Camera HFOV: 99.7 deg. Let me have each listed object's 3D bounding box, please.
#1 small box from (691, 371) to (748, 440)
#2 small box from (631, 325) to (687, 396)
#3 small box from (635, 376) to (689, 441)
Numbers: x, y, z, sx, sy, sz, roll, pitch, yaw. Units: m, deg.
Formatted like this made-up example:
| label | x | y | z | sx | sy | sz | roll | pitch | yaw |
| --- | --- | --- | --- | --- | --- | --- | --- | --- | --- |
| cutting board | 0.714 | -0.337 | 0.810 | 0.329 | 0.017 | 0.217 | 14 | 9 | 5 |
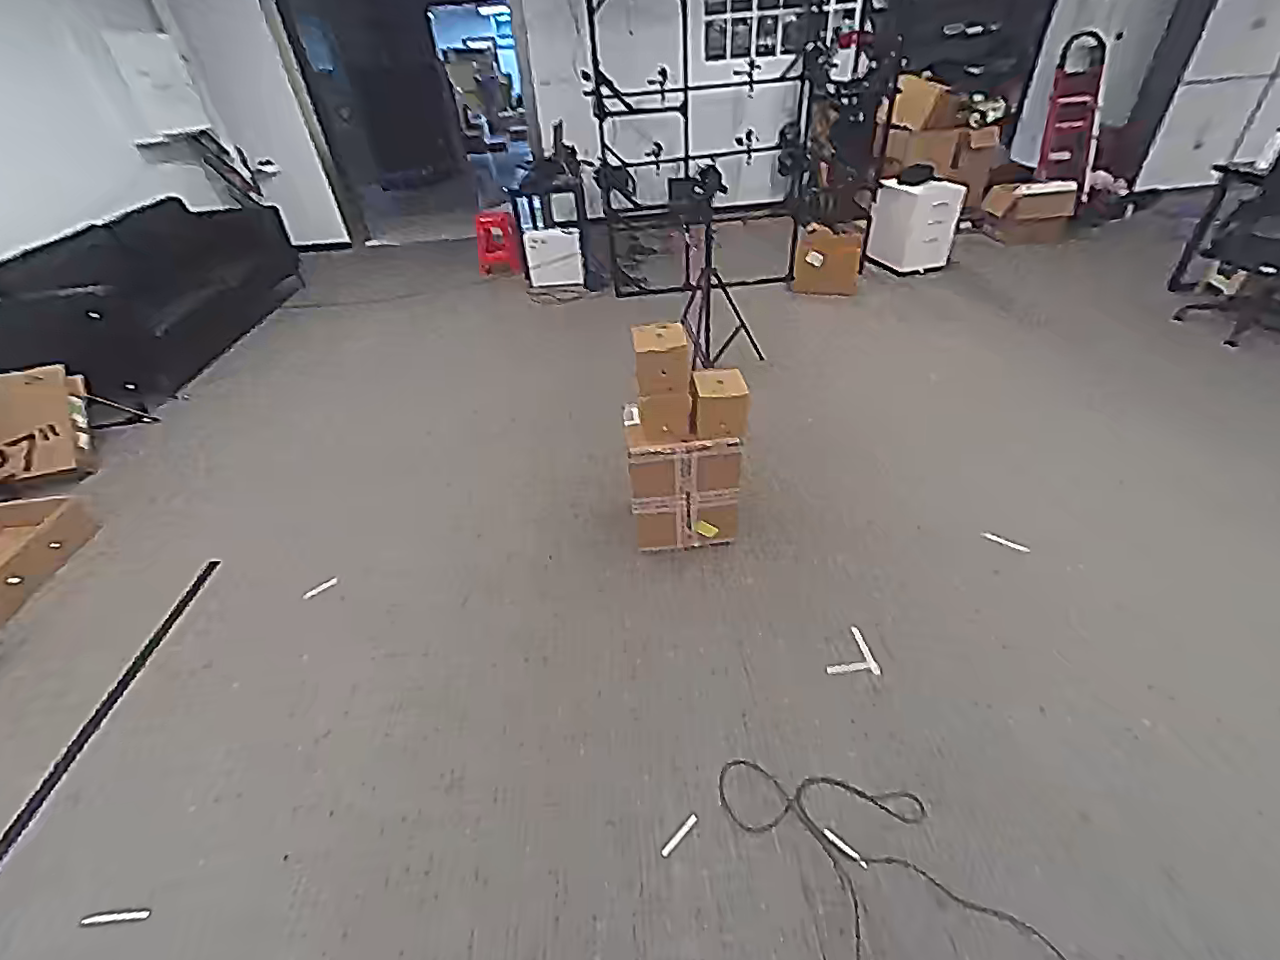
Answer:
| label | x | y | z | sx | sy | sz | roll | pitch | yaw |
| --- | --- | --- | --- | --- | --- | --- | --- | --- | --- |
| small box | 0.267 | -0.256 | 1.863 | 0.168 | 0.176 | 0.179 | -5 | 40 | -2 |
| small box | 0.063 | -0.389 | 1.786 | 0.168 | 0.176 | 0.179 | -7 | 41 | 0 |
| small box | 0.074 | -0.256 | 1.882 | 0.168 | 0.176 | 0.179 | -8 | 41 | -2 |
